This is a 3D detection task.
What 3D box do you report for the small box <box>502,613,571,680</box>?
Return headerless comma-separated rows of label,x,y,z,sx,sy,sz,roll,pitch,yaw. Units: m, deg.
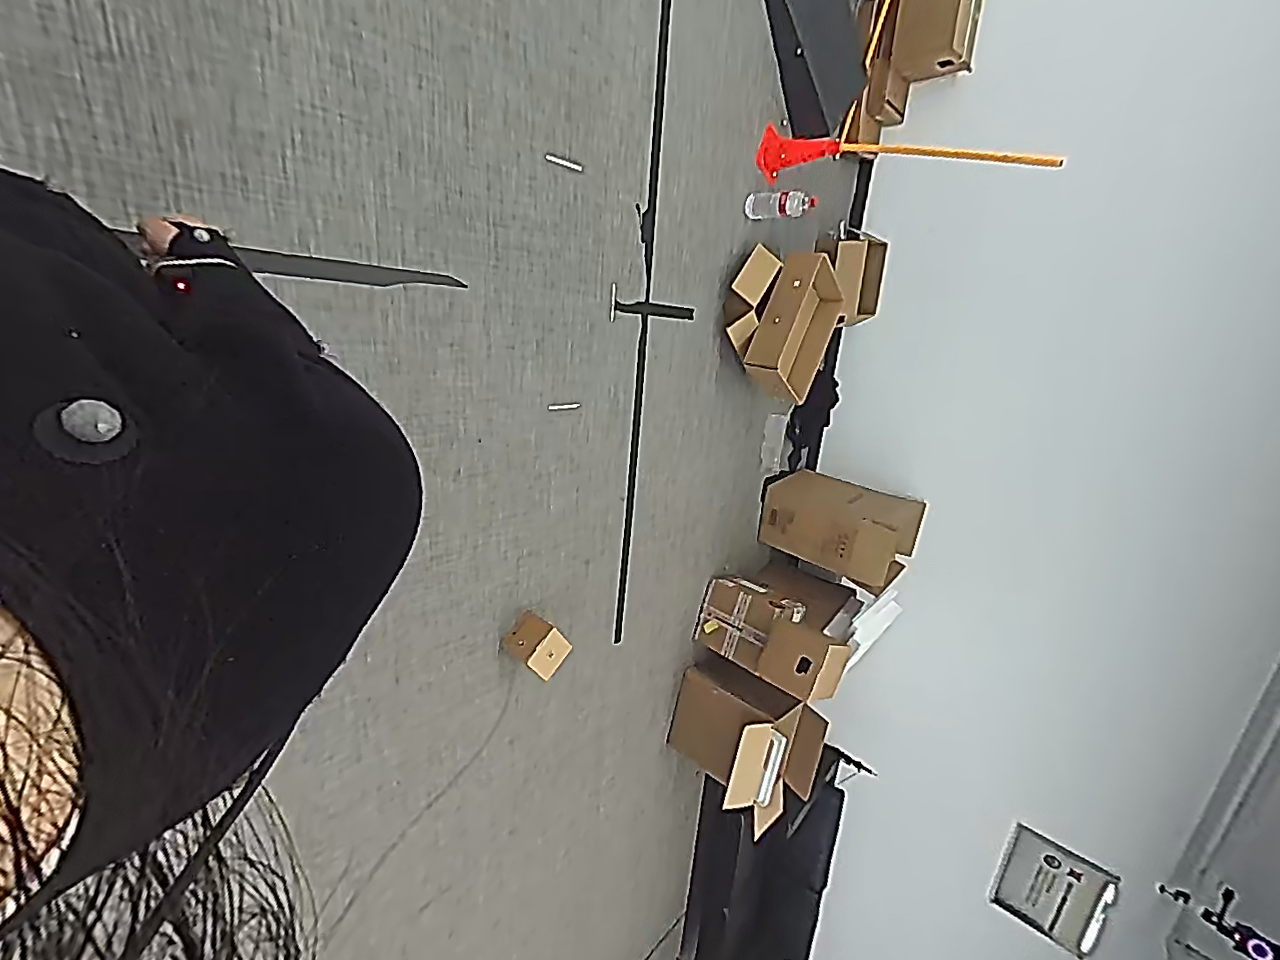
small box,-0.412,0.650,2.131,0.168,0.176,0.179,-51,139,-23
